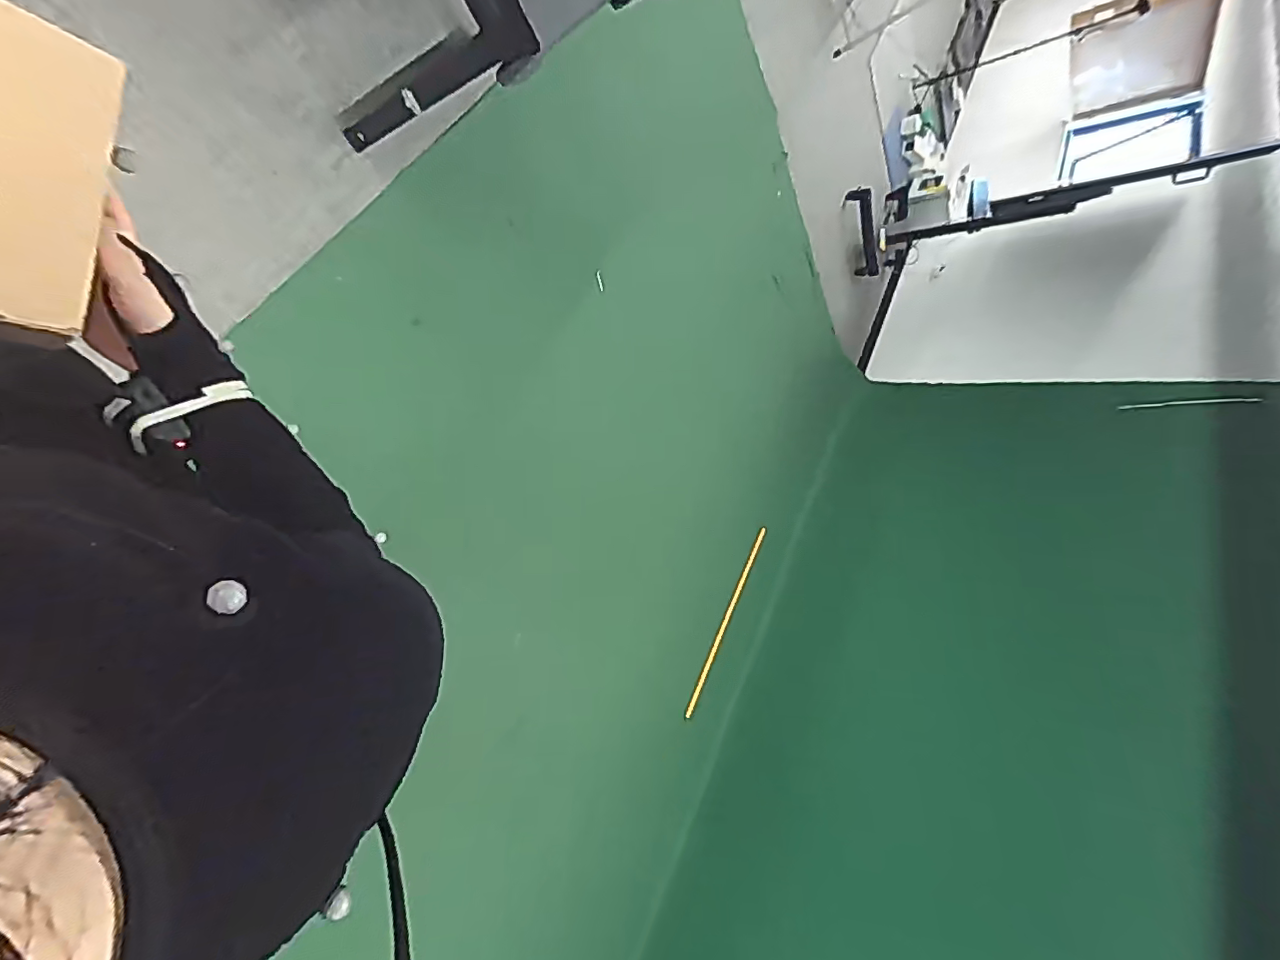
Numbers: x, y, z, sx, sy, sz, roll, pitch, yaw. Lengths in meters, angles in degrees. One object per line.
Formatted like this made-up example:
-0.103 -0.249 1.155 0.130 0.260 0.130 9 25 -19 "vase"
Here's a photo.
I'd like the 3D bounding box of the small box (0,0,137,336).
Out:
-0.435 -0.195 0.311 0.168 0.176 0.179 12 86 -54 "small box"
